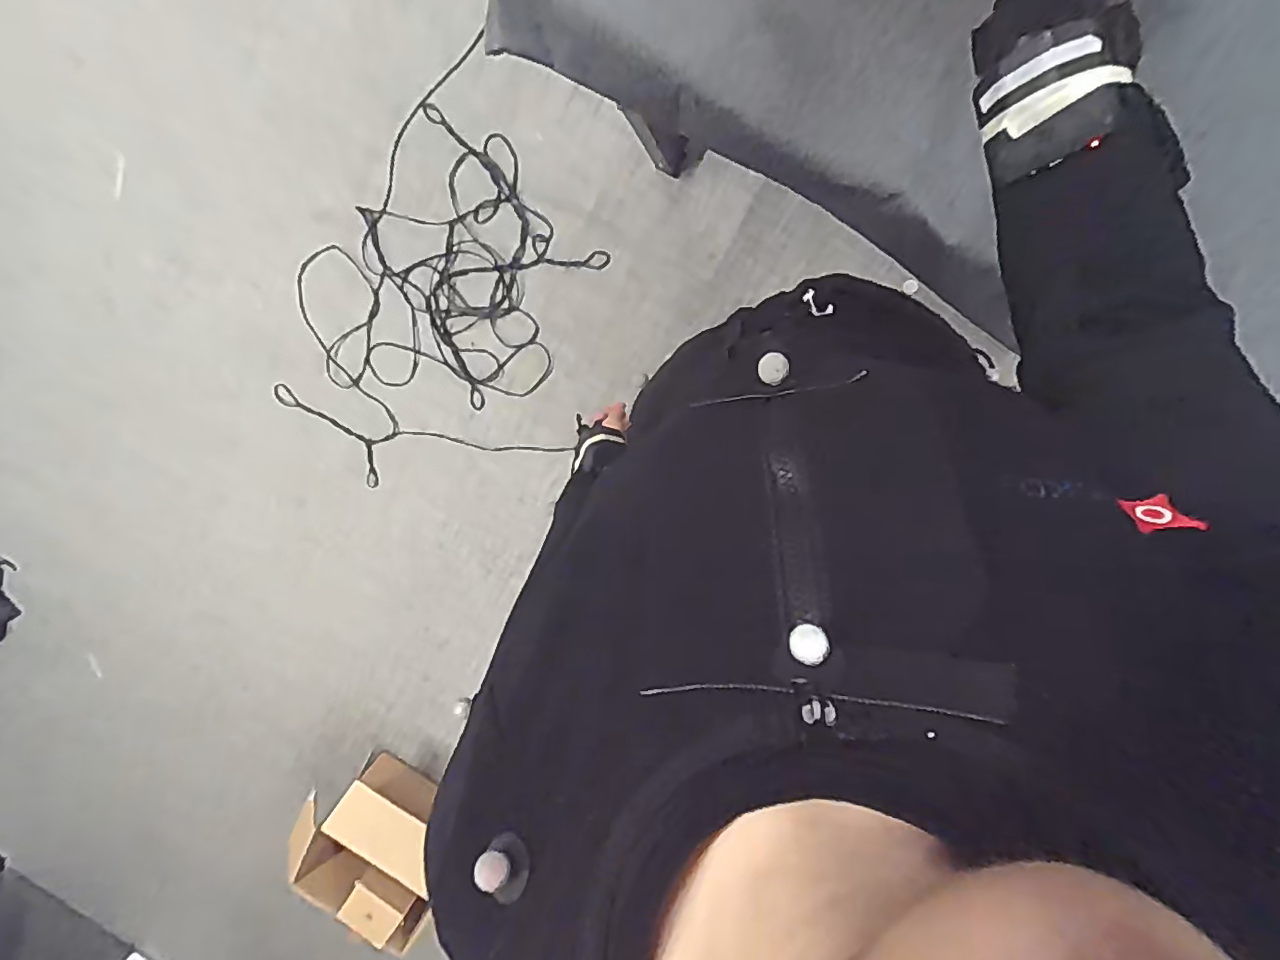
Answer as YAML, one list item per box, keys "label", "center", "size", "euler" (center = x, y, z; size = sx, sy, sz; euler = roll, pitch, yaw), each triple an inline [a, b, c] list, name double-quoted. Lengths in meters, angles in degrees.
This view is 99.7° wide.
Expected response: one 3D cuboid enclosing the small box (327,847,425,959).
- label: "small box"
  center: [-0.777, 1.254, 1.608]
  size: [0.168, 0.176, 0.179]
  euler: [35, 106, 2]
